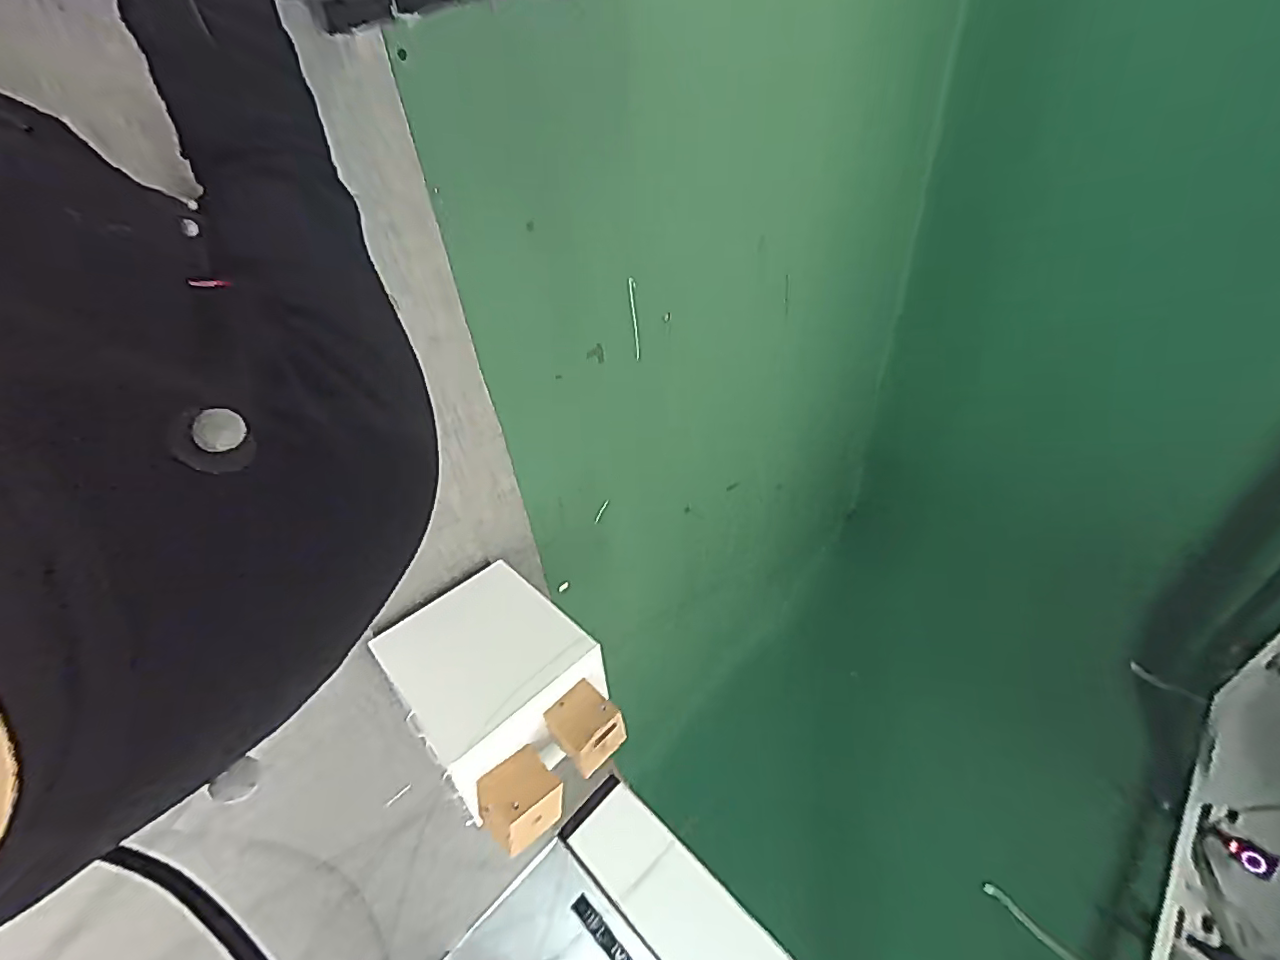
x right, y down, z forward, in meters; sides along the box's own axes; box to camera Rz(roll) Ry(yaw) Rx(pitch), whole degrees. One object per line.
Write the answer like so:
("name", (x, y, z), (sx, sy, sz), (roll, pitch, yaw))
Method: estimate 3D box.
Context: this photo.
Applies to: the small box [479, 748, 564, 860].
("small box", (-0.336, 0.908, 1.533), (0.179, 0.176, 0.168), (-22, 128, -41))
